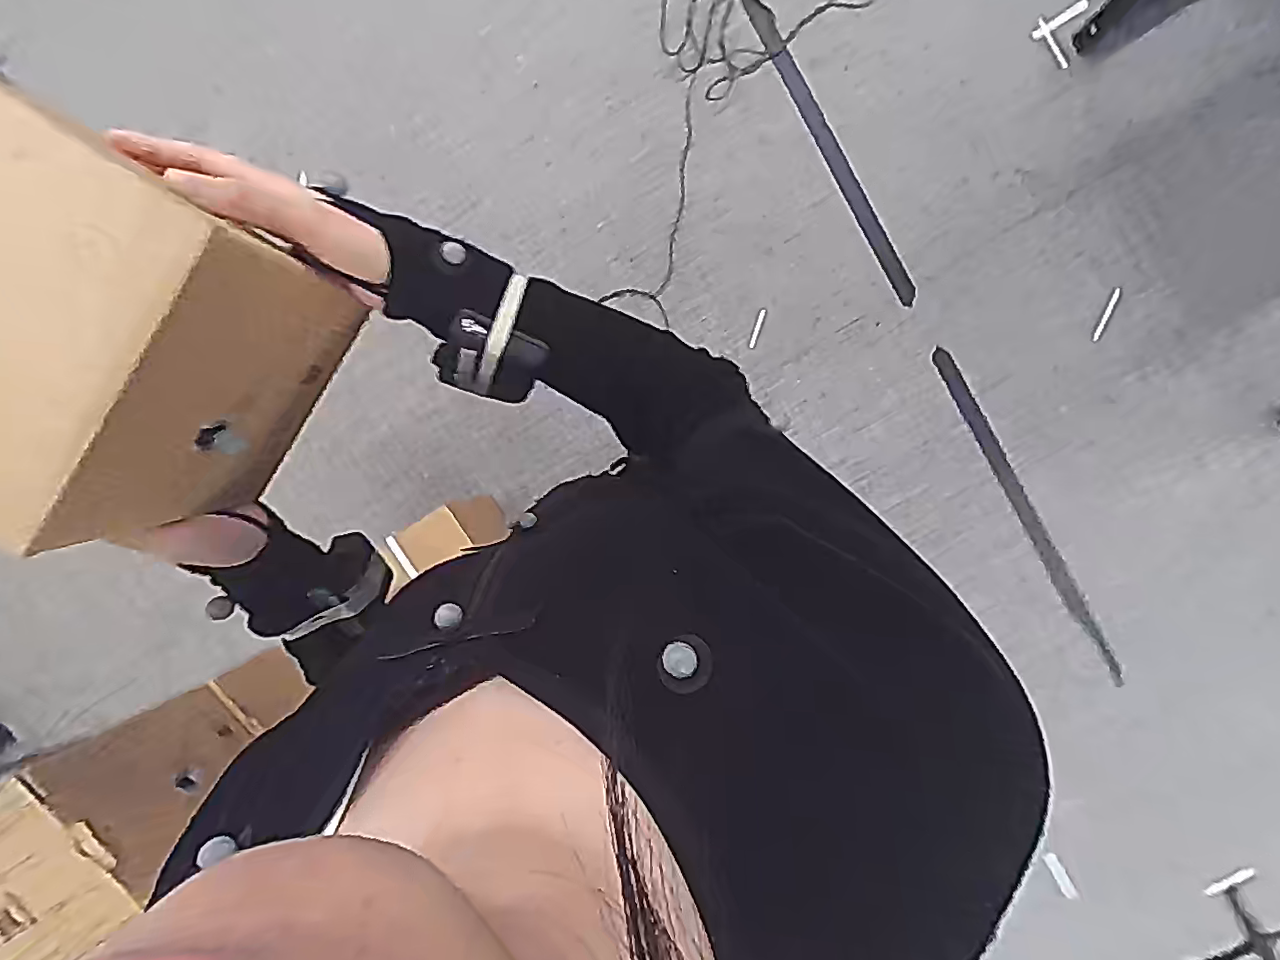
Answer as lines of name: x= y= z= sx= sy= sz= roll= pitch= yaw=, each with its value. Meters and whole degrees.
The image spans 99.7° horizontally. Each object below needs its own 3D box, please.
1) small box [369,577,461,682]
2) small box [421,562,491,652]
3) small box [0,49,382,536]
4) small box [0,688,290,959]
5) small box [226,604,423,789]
small box: x=-0.458 y=0.304 z=1.001 sx=0.179 sy=0.176 sz=0.168 roll=-35 pitch=90 yaw=5
small box: x=-0.453 y=0.301 z=1.163 sx=0.179 sy=0.176 sz=0.168 roll=-33 pitch=92 yaw=3
small box: x=-0.284 y=-0.097 z=0.301 sx=0.179 sy=0.176 sz=0.168 roll=34 pitch=93 yaw=-7
small box: x=-0.477 y=0.334 z=0.510 sx=0.179 sy=0.176 sz=0.168 roll=-42 pitch=90 yaw=3
small box: x=-0.466 y=0.319 z=0.837 sx=0.179 sy=0.176 sz=0.168 roll=-39 pitch=90 yaw=4
